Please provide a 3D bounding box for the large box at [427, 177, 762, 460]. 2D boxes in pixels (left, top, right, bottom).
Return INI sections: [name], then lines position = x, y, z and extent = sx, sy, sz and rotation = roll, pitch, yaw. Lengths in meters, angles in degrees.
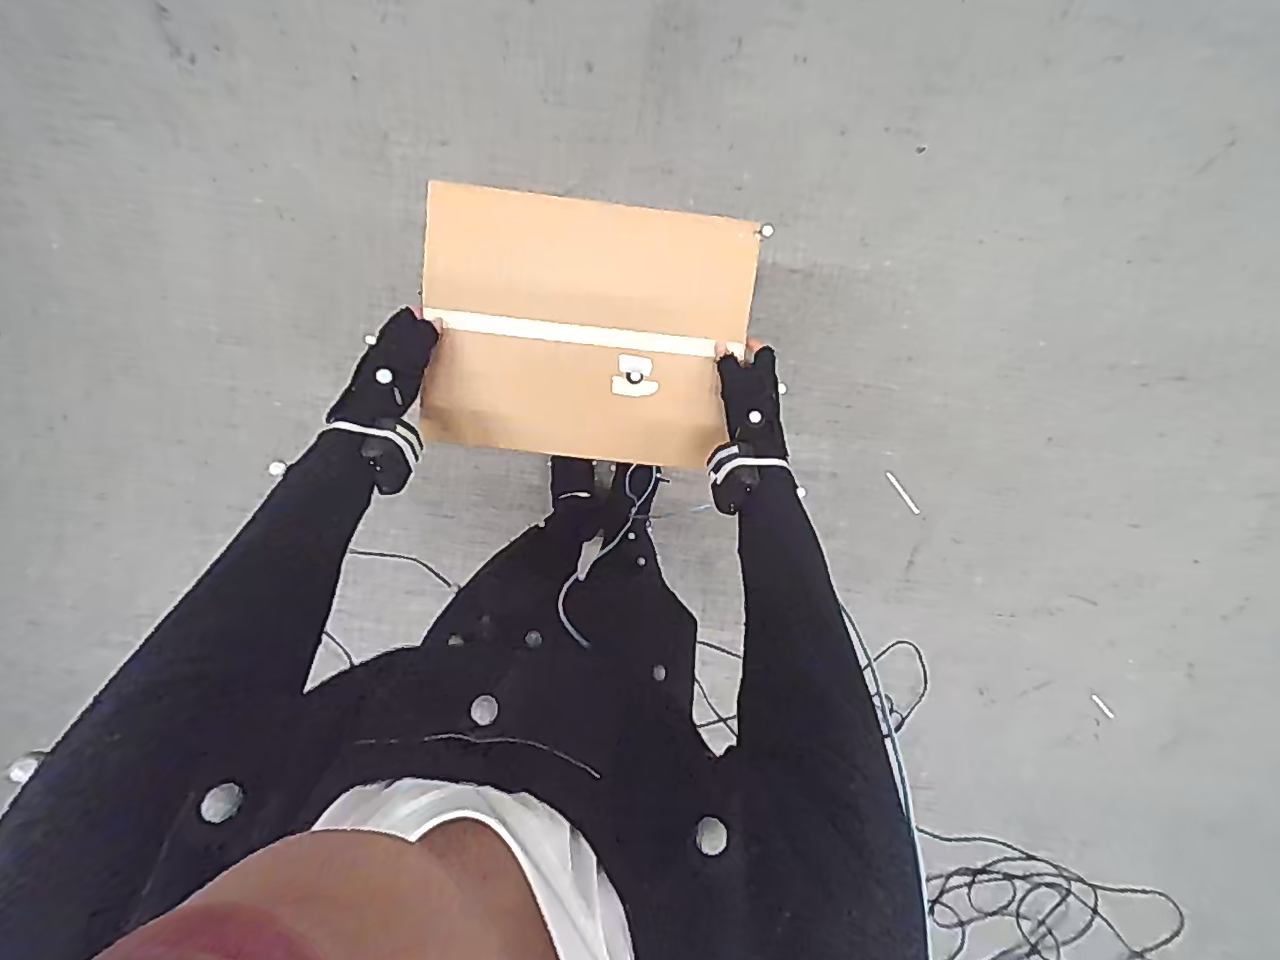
[large box]
position = -0.069, -0.217, 0.821
extent = 0.408, 0.320, 0.320
rotation = 6, 100, -3
